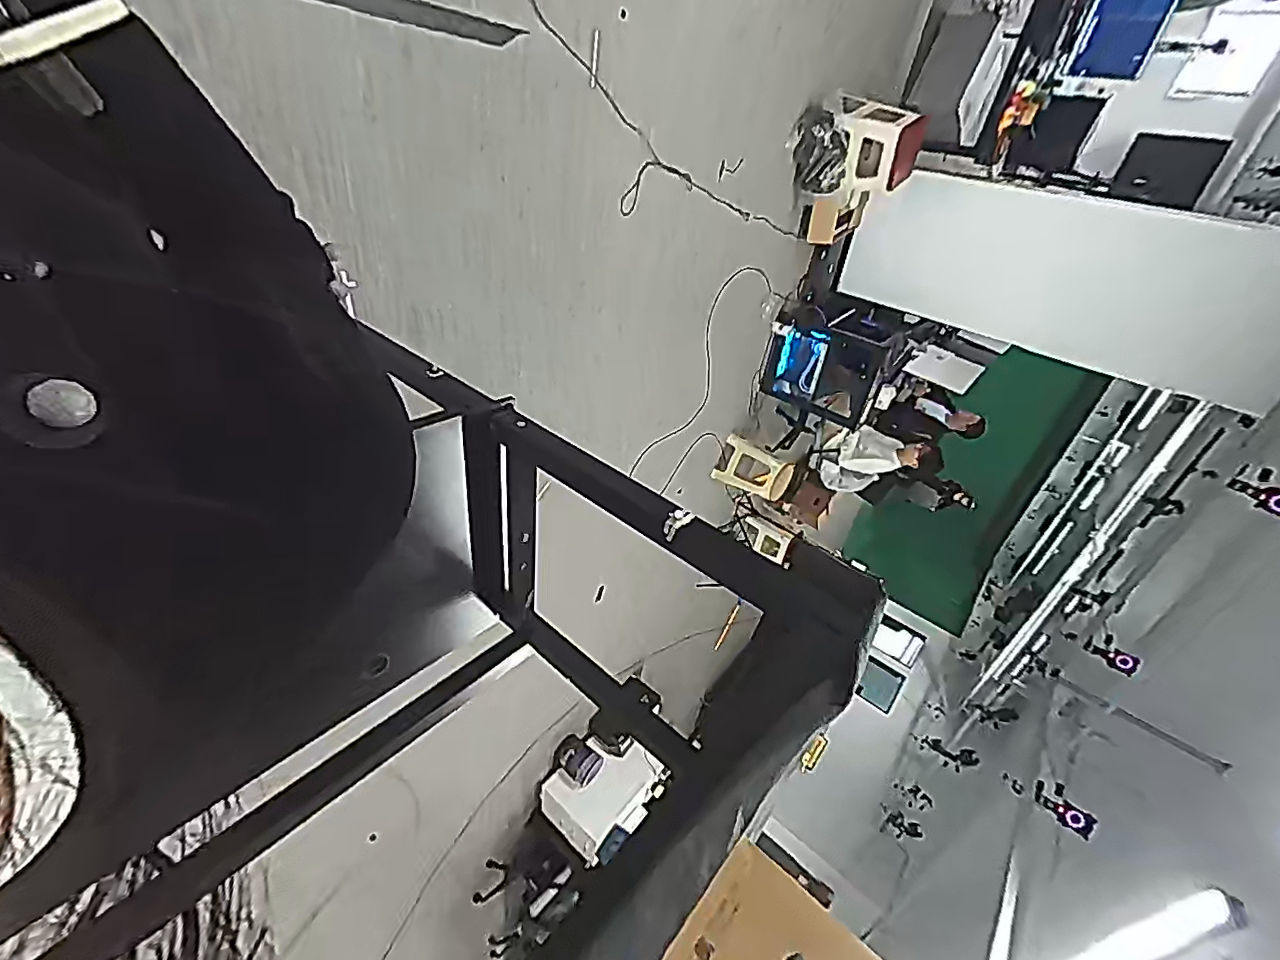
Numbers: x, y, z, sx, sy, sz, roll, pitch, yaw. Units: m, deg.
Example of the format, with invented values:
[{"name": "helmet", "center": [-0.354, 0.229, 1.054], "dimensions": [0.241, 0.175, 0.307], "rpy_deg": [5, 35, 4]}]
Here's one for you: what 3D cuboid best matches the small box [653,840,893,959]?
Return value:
[{"name": "small box", "center": [0.097, 0.478, 0.492], "dimensions": [0.168, 0.176, 0.179], "rpy_deg": [-27, 140, -45]}]
